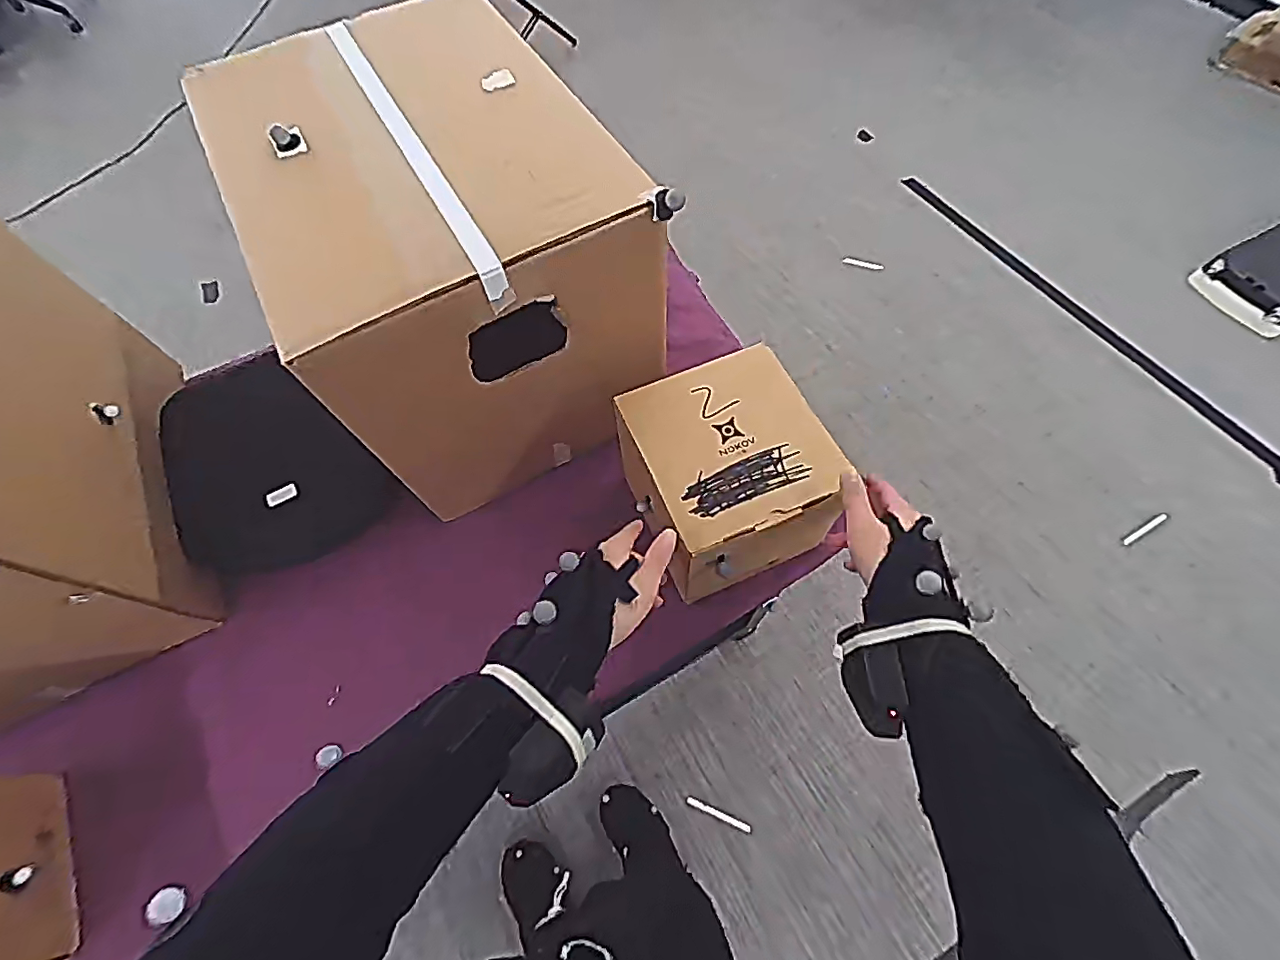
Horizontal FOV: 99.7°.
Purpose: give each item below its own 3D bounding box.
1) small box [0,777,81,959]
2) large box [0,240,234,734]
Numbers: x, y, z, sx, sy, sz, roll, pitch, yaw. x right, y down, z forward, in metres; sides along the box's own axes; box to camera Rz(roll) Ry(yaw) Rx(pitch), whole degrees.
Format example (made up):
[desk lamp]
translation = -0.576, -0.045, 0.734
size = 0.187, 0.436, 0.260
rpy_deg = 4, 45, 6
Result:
[small box]
translation = -0.611, 0.360, 0.421
size = 0.179, 0.176, 0.168
rpy_deg = -29, 65, -15
[large box]
translation = -0.689, 0.007, 0.528
size = 0.320, 0.320, 0.408
rpy_deg = -27, 68, -10
